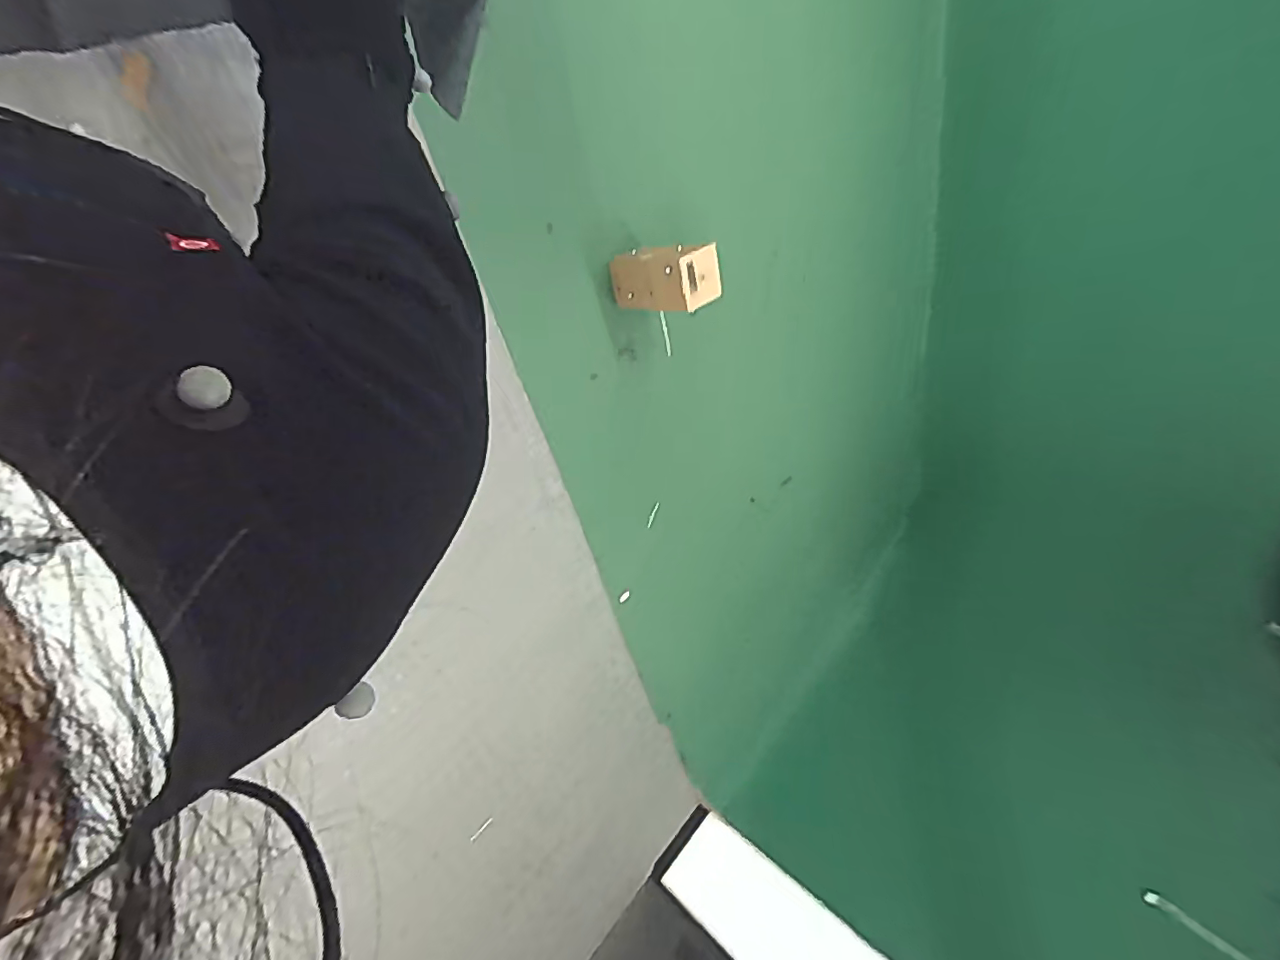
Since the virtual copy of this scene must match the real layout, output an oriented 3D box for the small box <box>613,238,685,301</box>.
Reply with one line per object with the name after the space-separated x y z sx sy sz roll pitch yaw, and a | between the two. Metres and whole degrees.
0.025 -0.719 1.848 0.179 0.176 0.168 -34 127 -32 | small box
